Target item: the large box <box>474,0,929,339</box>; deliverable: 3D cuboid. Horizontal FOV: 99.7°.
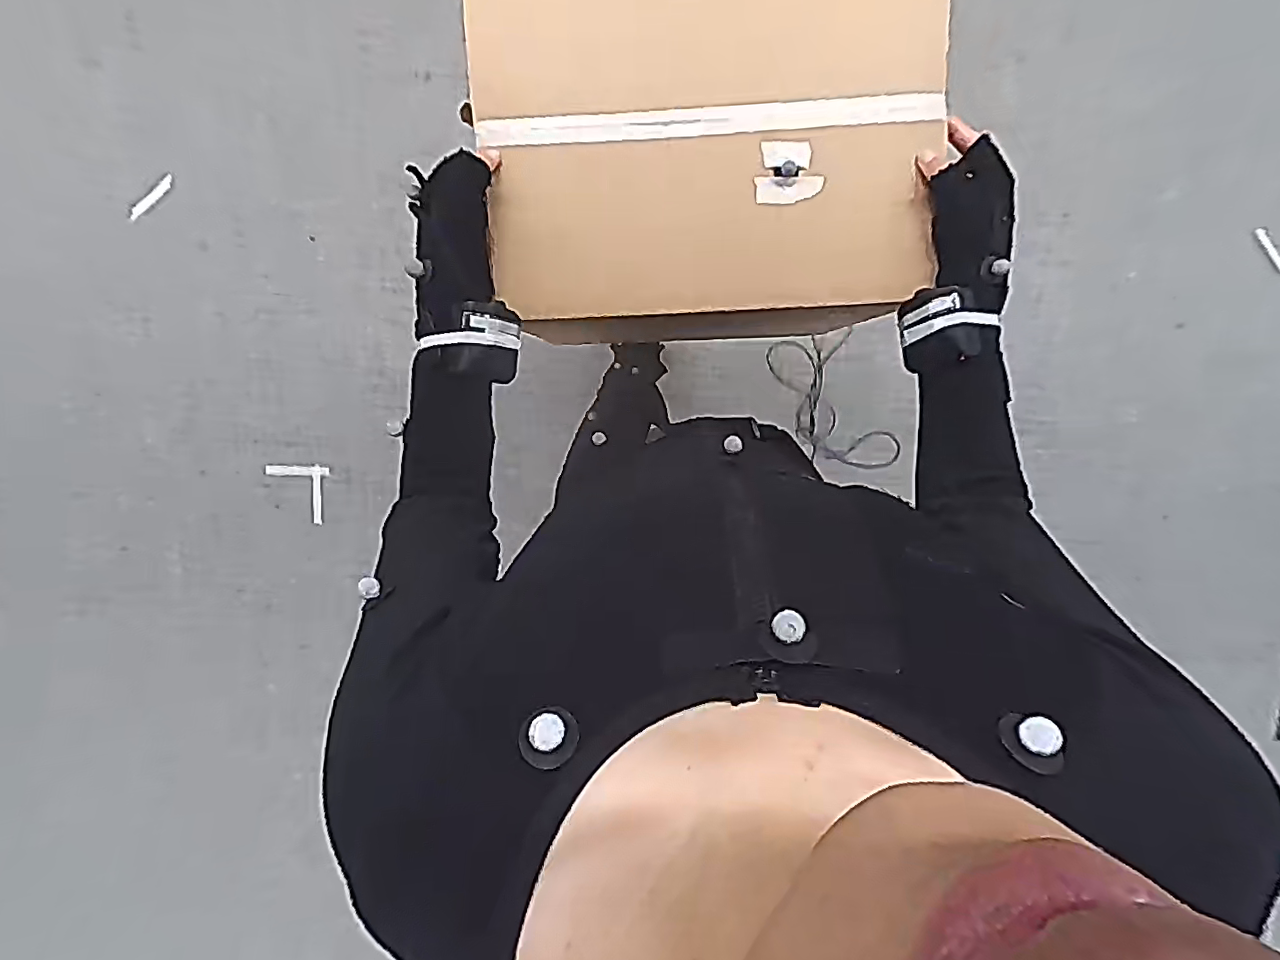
[{"bbox_3d":[0.057,-0.349,0.635,0.408,0.320,0.320,-3,100,0],"label":"large box"}]
